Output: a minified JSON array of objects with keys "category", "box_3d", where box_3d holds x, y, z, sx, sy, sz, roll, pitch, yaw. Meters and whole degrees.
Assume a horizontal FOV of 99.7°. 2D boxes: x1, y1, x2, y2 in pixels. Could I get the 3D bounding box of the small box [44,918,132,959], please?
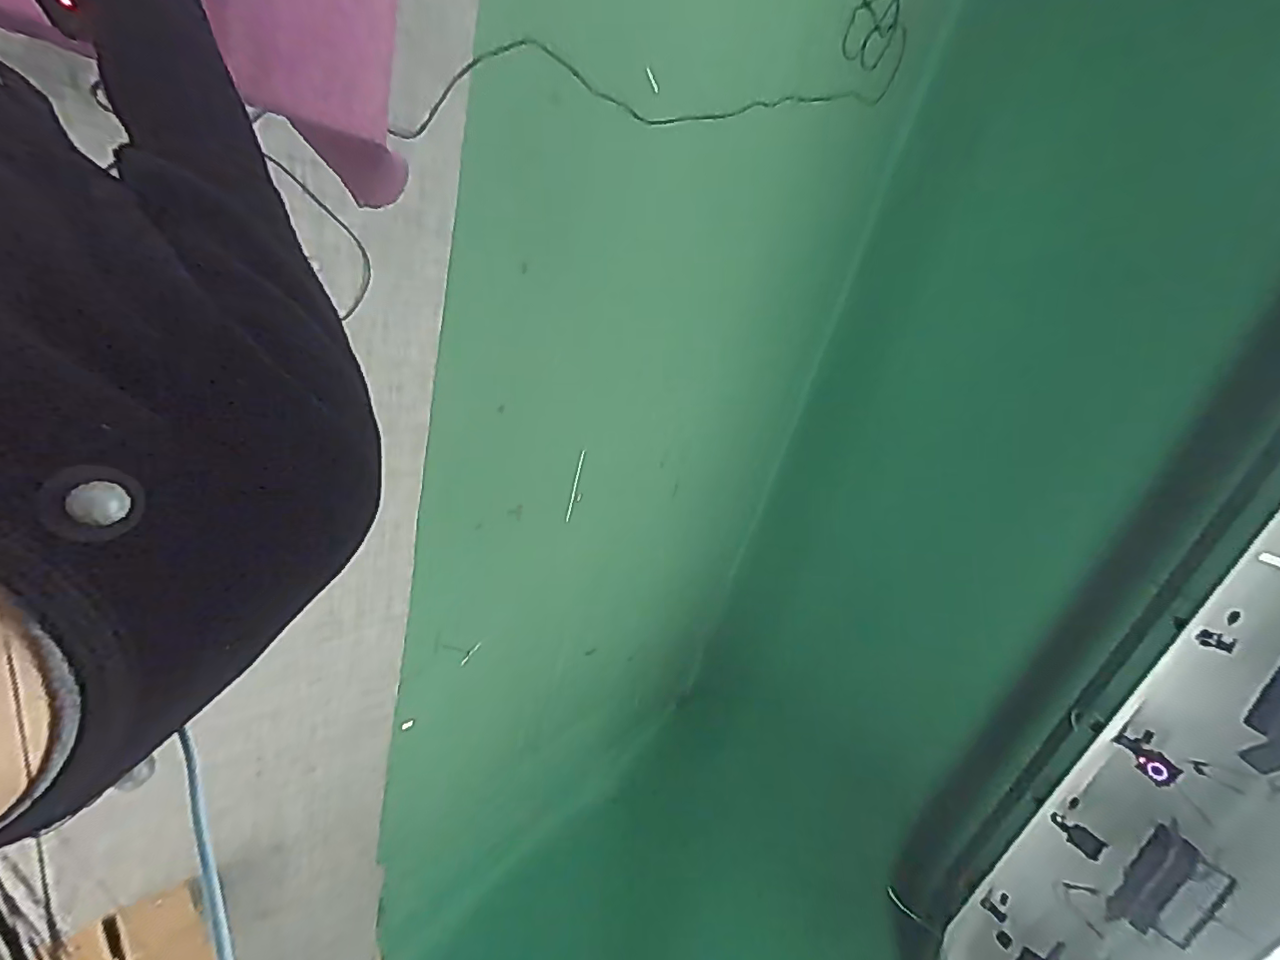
[{"category":"small box","box_3d":[-1.636,1.474,1.611,0.168,0.176,0.179,-13,124,-50]}]
